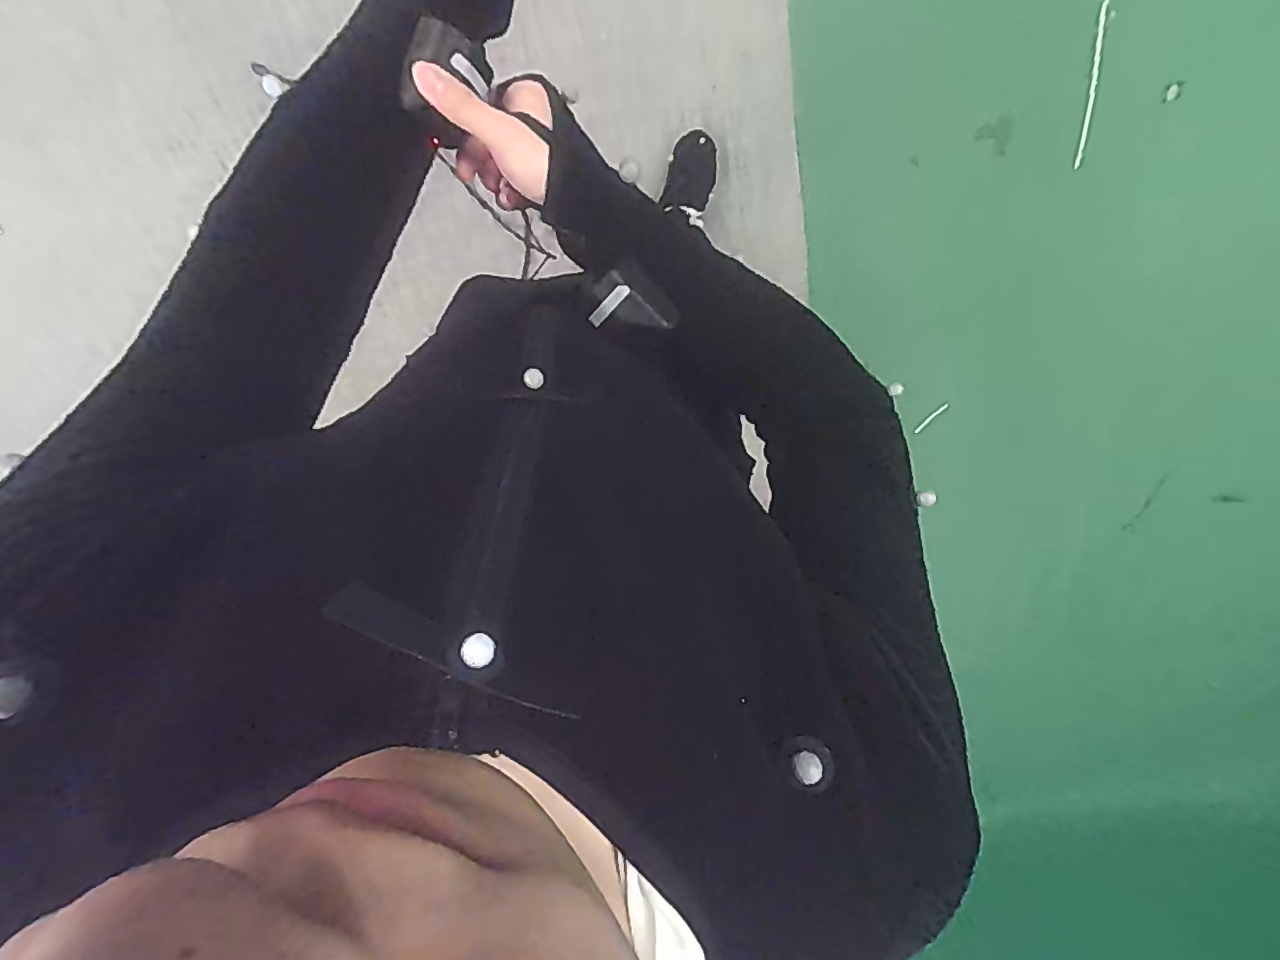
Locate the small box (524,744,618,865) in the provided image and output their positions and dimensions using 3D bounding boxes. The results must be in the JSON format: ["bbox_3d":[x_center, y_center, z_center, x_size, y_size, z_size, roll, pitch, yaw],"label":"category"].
[{"bbox_3d":[-0.142,0.708,1.184,0.168,0.176,0.179,-5,119,4],"label":"small box"}]

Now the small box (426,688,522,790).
[{"bbox_3d":[-0.402,0.635,1.340,0.168,0.176,0.179,-4,119,4],"label":"small box"}]

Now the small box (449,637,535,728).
[{"bbox_3d":[-0.396,0.555,1.484,0.168,0.176,0.179,-4,118,4],"label":"small box"}]
